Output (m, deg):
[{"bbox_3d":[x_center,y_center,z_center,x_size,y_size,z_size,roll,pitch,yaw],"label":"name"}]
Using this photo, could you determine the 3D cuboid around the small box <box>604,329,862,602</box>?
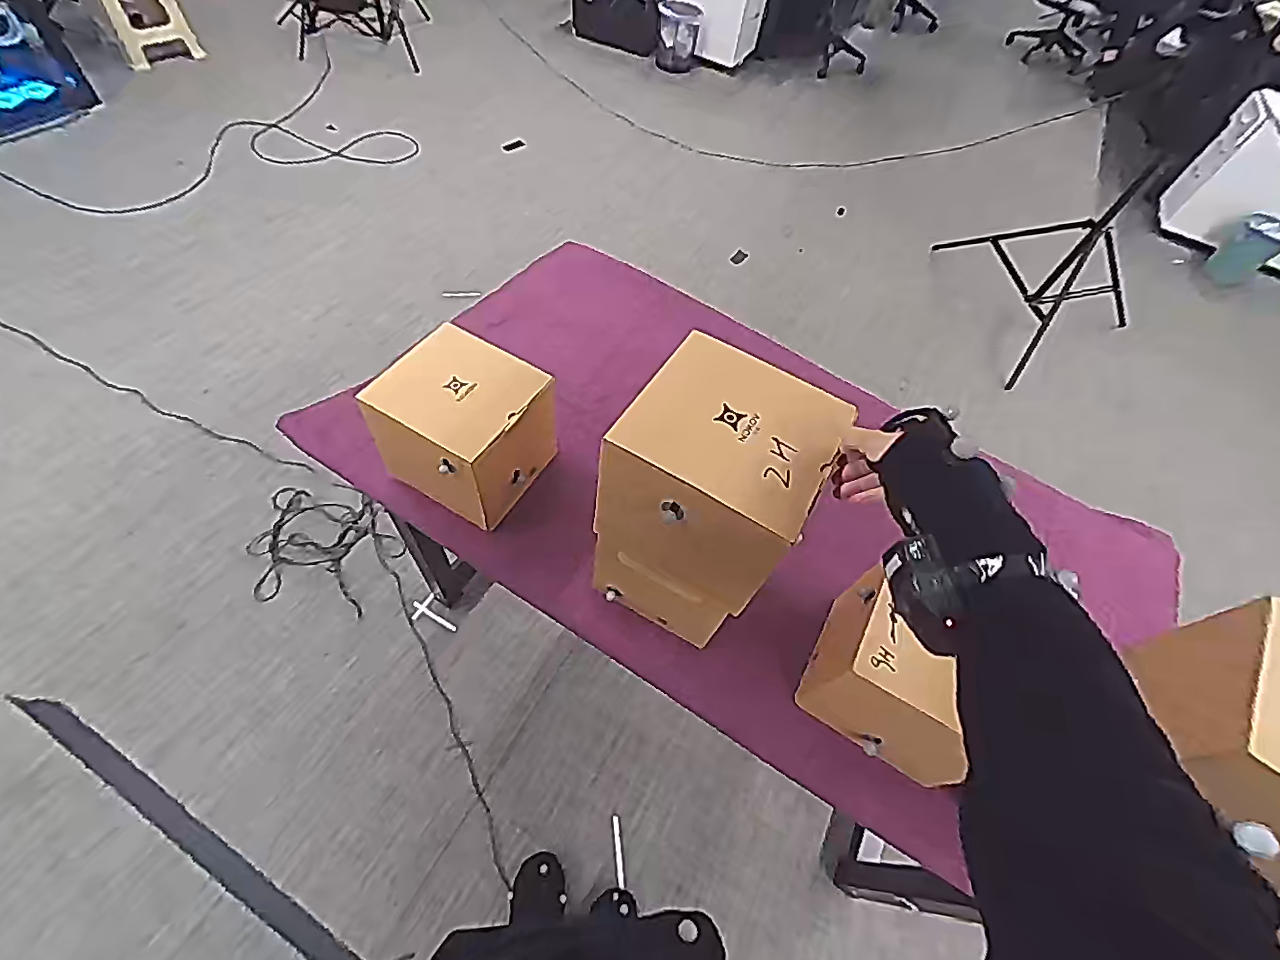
[{"bbox_3d":[0.078,-0.007,0.531,0.179,0.176,0.168,30,59,10],"label":"small box"}]

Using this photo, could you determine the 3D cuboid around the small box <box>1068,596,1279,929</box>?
[{"bbox_3d":[0.512,0.233,0.439,0.179,0.176,0.168,39,58,18],"label":"small box"}]

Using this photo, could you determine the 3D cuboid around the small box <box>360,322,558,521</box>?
[{"bbox_3d":[-0.228,-0.072,0.727,0.179,0.176,0.168,28,58,10],"label":"small box"}]

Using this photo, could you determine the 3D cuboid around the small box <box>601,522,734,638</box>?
[{"bbox_3d":[0.061,0.069,0.677,0.168,0.176,0.179,27,57,9],"label":"small box"}]
